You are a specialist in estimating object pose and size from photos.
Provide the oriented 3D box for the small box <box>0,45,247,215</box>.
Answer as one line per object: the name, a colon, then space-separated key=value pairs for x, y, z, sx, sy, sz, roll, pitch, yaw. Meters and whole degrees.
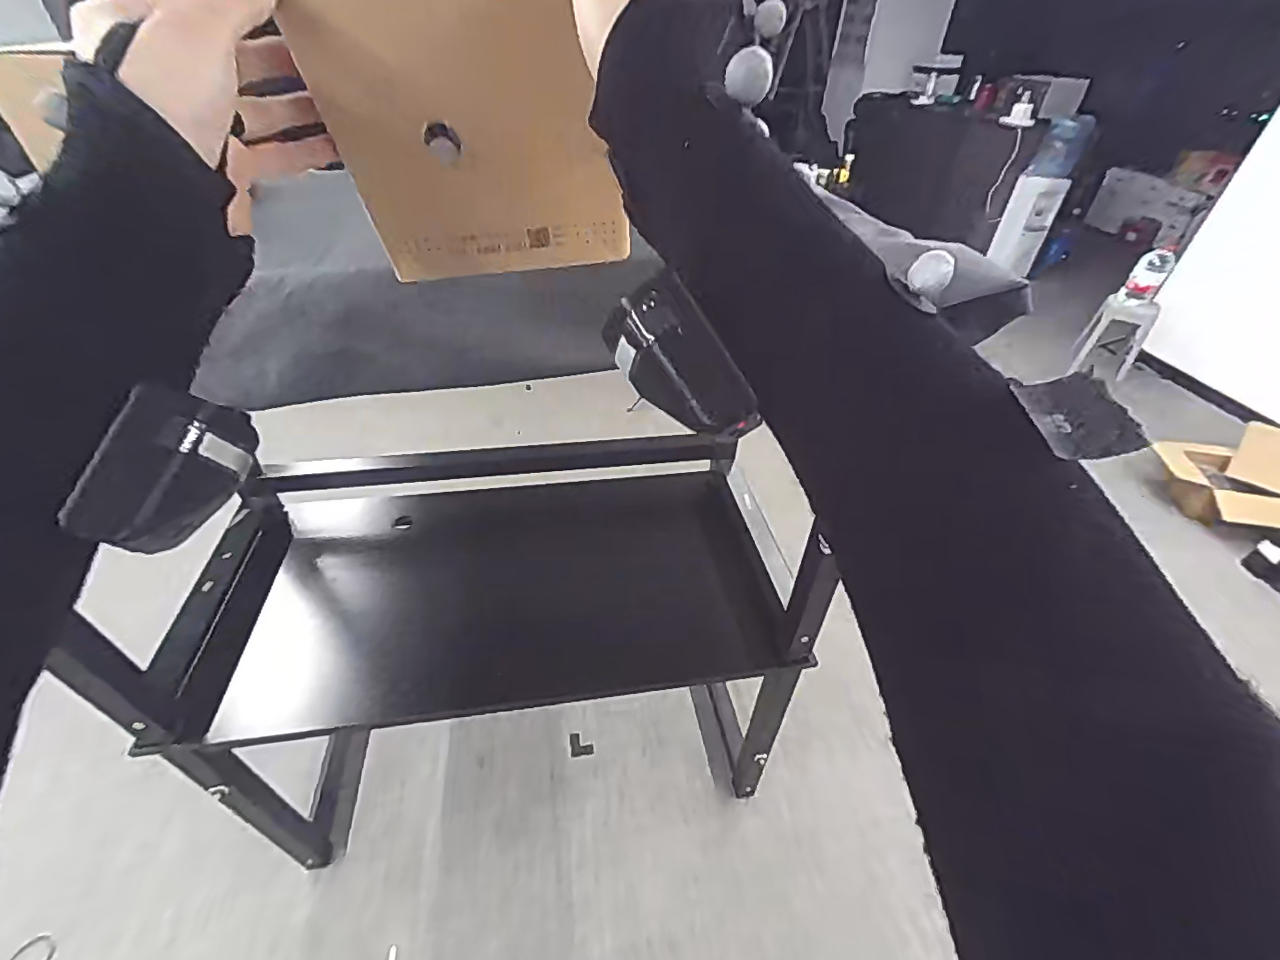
small box: x=-0.673 y=-0.465 z=0.724 sx=0.179 sy=0.176 sz=0.168 roll=-6 pitch=41 yaw=-10

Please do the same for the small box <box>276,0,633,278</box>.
small box: x=-0.097 y=-0.256 z=0.365 sx=0.168 sy=0.176 sz=0.179 roll=-7 pitch=58 yaw=-3
